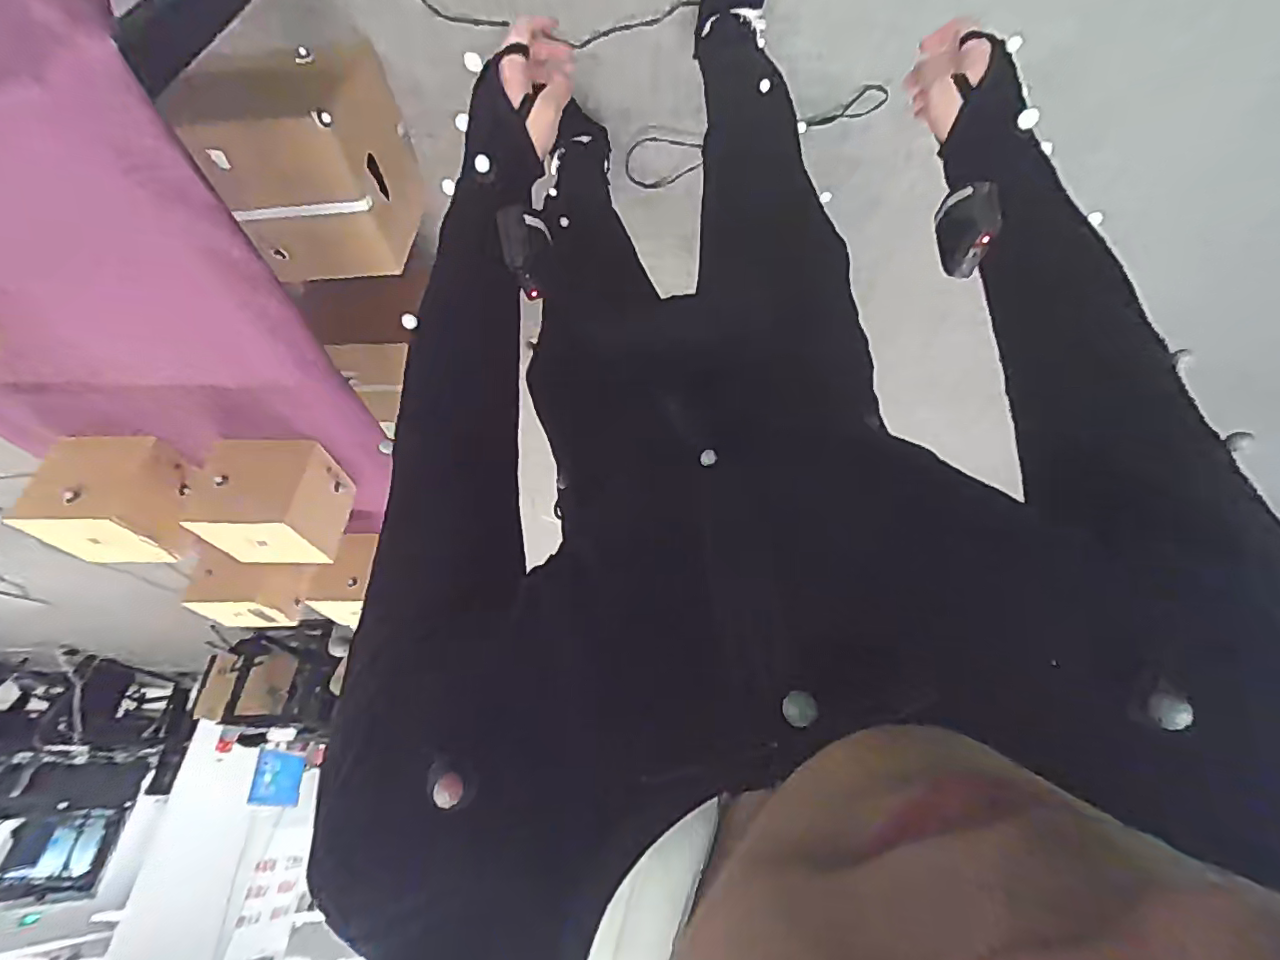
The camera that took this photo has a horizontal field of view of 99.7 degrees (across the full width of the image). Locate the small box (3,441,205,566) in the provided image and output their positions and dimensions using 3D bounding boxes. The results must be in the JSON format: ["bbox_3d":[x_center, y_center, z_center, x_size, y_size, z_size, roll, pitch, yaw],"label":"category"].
[{"bbox_3d":[-0.923,0.042,0.963,0.179,0.176,0.168,-1,147,0],"label":"small box"}]

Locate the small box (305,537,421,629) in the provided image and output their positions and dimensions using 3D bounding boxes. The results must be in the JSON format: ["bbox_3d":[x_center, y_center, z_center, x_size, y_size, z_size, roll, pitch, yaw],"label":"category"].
[{"bbox_3d":[-0.635,0.243,1.271,0.179,0.176,0.168,0,147,4],"label":"small box"}]

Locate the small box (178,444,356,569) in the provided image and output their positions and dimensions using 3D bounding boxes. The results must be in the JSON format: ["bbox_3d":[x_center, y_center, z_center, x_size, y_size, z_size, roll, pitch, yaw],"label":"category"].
[{"bbox_3d":[-0.648,0.047,0.966,0.179,0.176,0.168,1,148,1],"label":"small box"}]
